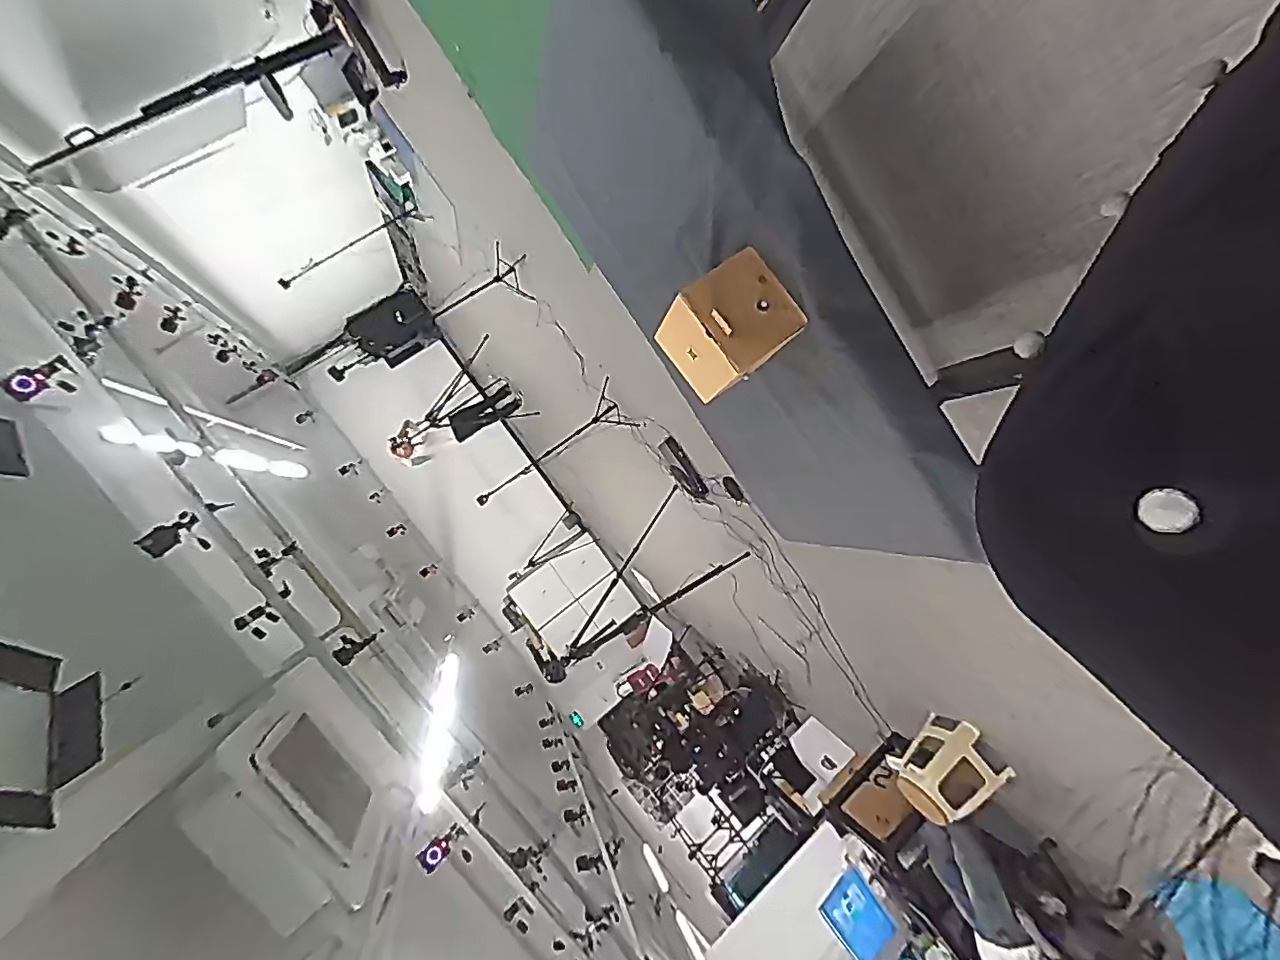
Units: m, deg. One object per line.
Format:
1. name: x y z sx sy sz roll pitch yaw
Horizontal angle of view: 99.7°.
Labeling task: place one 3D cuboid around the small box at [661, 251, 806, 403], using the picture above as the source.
1. small box: 0.166 -0.272 0.981 0.168 0.176 0.179 52 165 0
